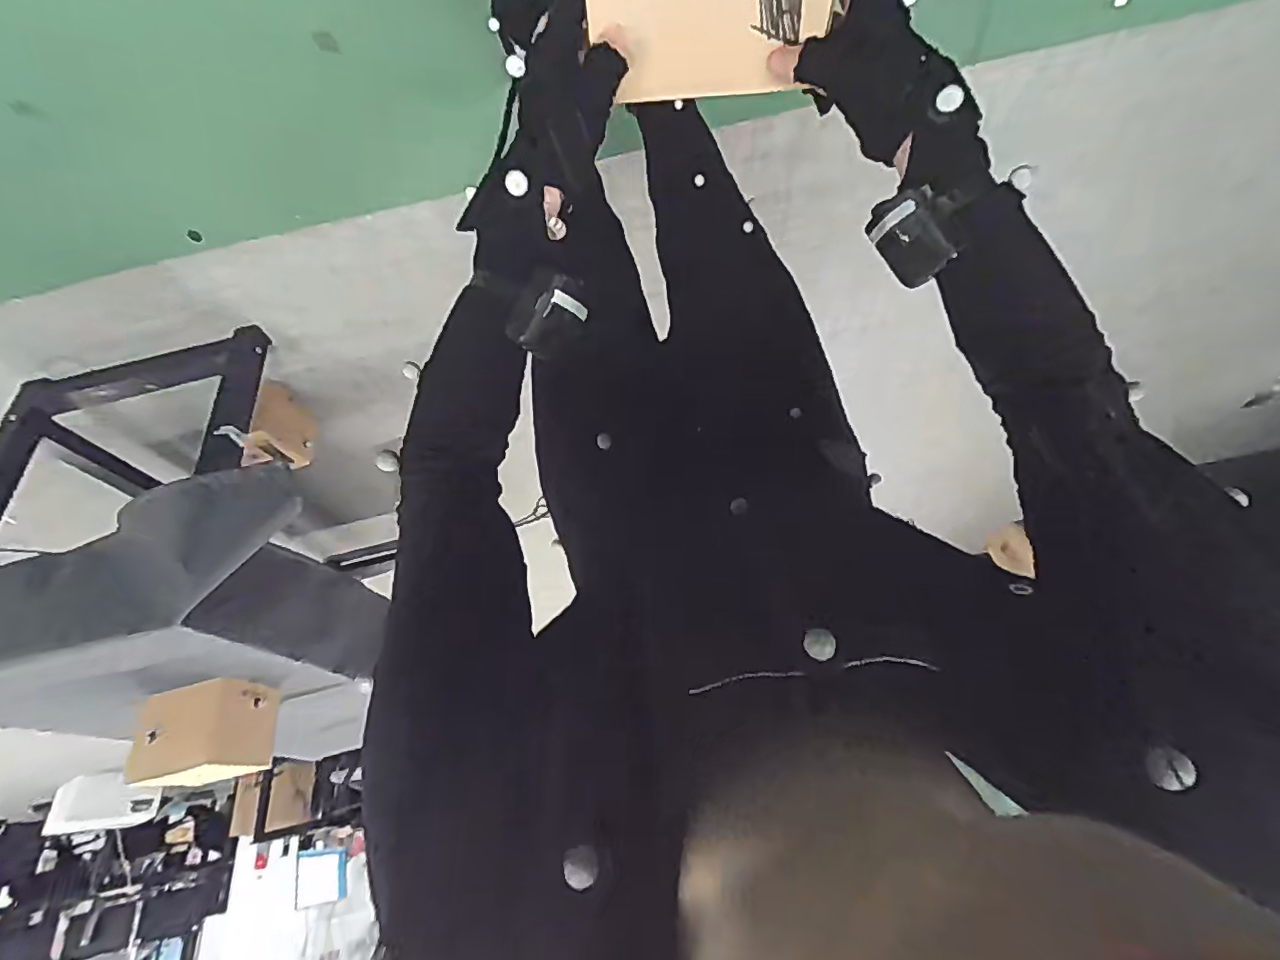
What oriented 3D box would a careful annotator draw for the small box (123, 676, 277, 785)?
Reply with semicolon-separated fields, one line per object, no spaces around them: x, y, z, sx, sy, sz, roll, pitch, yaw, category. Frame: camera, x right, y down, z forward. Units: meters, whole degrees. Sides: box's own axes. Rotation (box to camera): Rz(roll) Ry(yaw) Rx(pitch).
-0.900;0.524;1.128;0.179;0.176;0.168;-15;150;3;small box

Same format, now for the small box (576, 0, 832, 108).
0.038;-0.404;0.400;0.179;0.176;0.168;-5;142;-2;small box
